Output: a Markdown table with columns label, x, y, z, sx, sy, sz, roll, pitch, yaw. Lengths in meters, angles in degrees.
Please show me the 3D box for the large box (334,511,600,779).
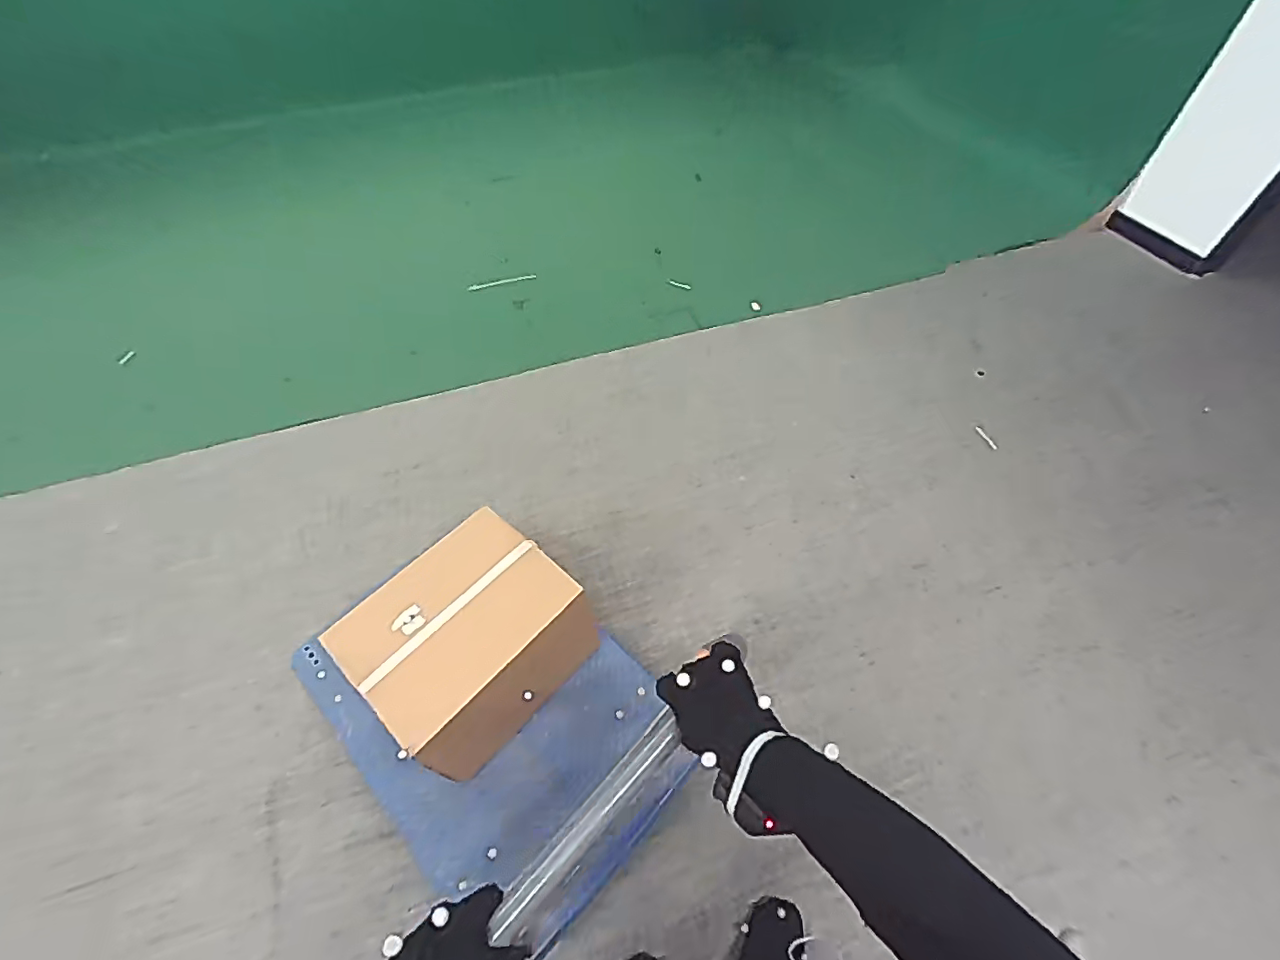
| label | x | y | z | sx | sy | sz | roll | pitch | yaw |
| --- | --- | --- | --- | --- | --- | --- | --- | --- | --- |
| large box | -0.340 | 0.354 | 1.177 | 0.320 | 0.320 | 0.408 | 34 | 63 | 26 |
